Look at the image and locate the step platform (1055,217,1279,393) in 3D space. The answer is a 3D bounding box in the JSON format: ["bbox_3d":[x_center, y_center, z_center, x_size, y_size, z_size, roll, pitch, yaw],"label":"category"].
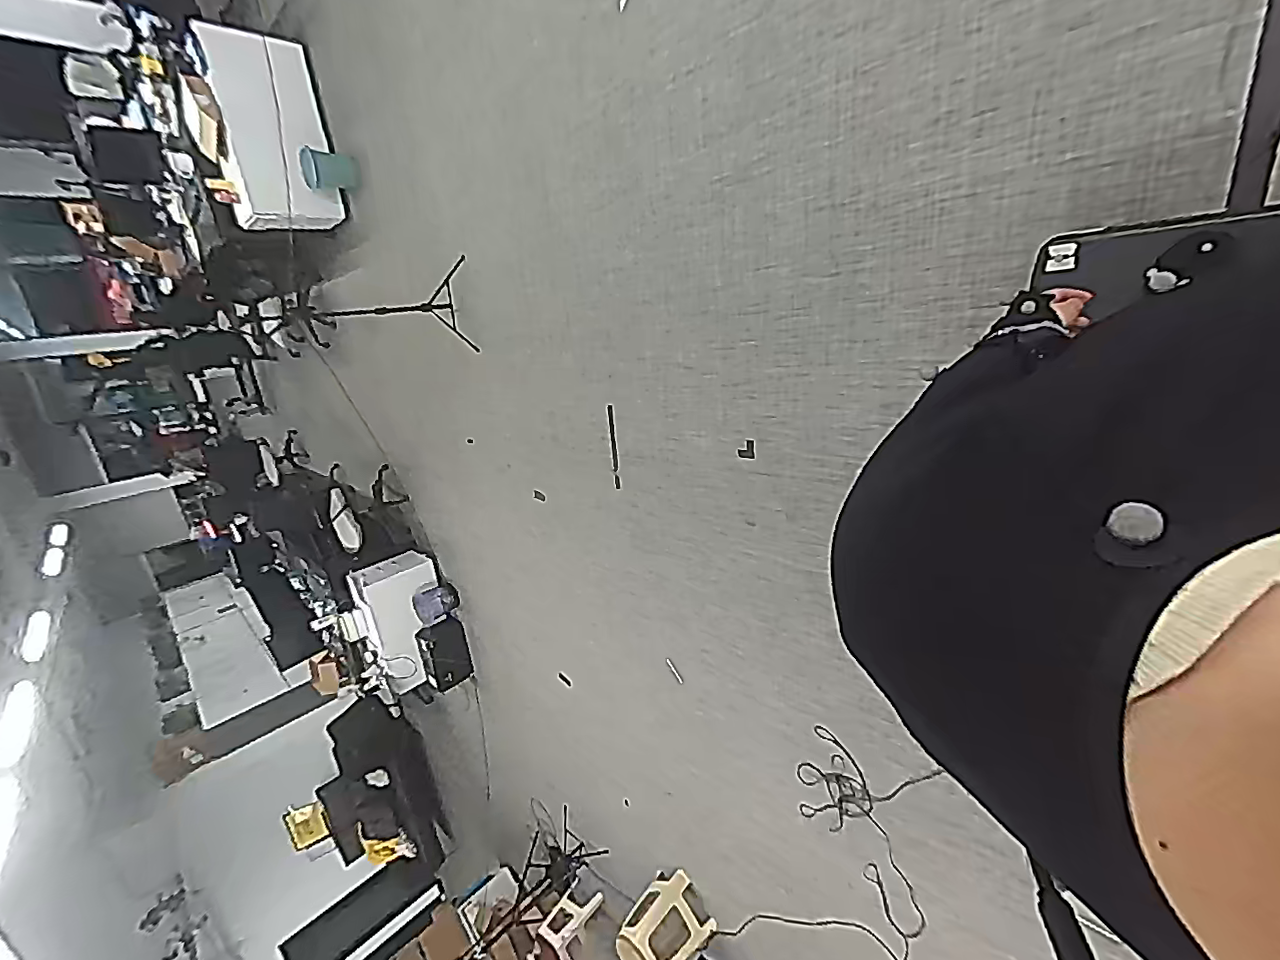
[{"bbox_3d":[1.139,-0.299,0.921,0.684,0.204,0.286,16,117,42],"label":"step platform"}]
